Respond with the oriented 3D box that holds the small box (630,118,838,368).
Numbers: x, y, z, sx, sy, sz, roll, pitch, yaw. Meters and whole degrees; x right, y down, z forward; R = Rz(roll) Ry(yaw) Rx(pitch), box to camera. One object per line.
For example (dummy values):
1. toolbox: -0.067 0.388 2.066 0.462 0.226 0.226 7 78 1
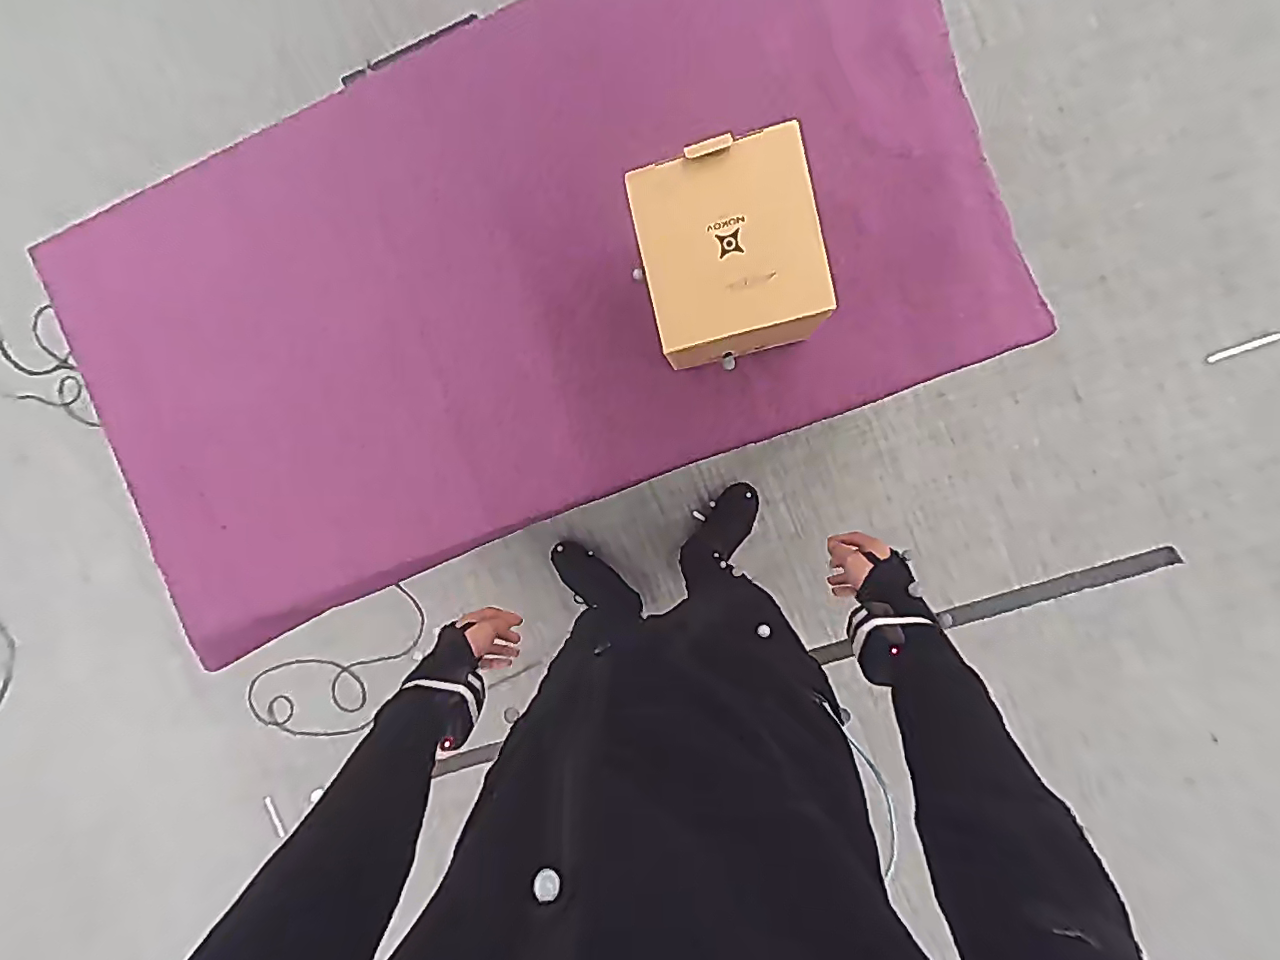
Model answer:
1. small box: 0.094 -0.229 0.573 0.168 0.176 0.179 -12 93 9
